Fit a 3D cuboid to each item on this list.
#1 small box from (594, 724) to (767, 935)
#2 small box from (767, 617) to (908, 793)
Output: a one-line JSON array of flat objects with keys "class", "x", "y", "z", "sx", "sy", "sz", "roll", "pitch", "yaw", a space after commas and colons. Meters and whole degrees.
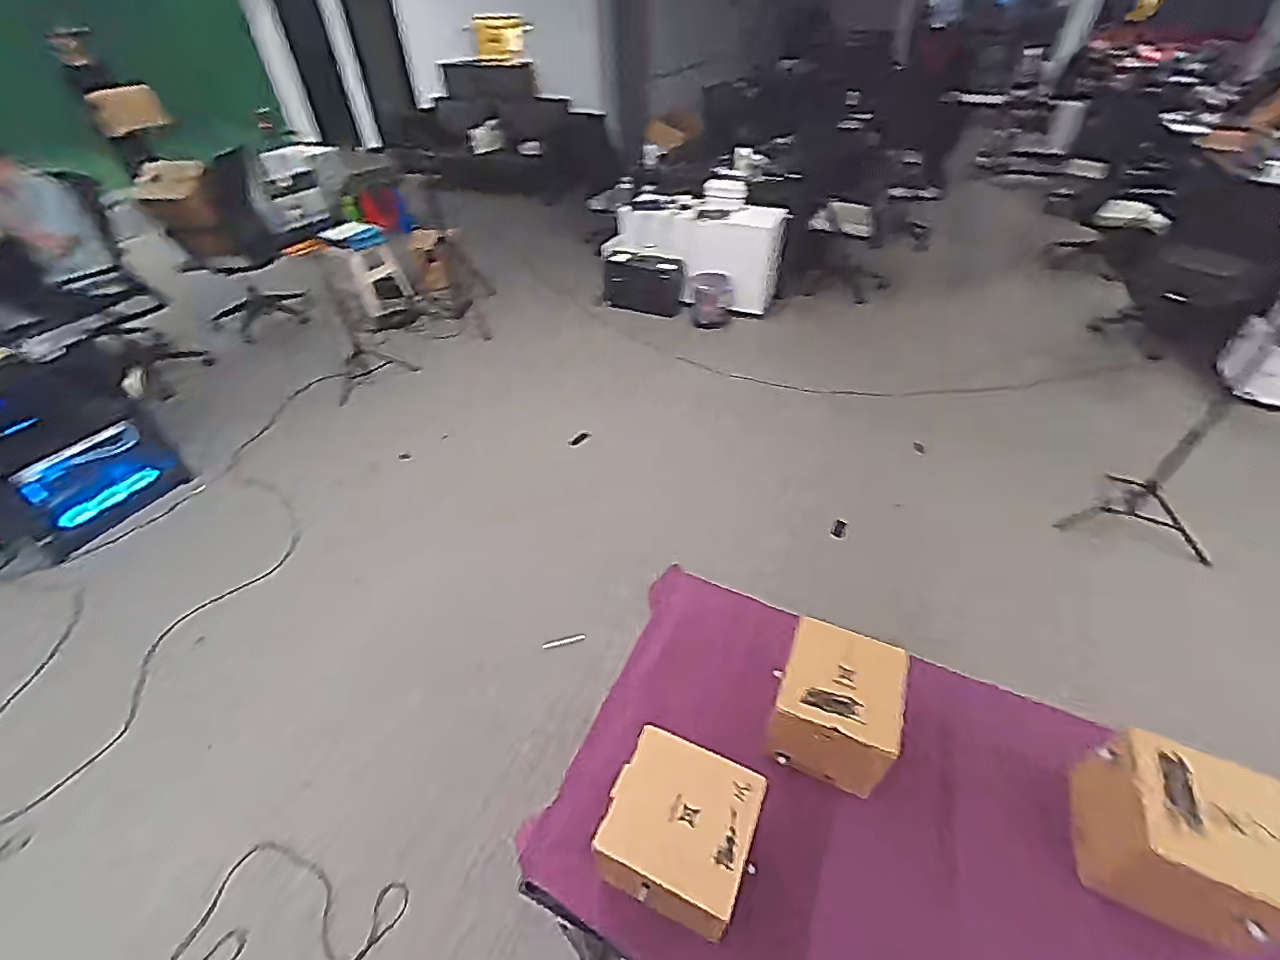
[{"class": "small box", "x": 0.057, "y": 0.477, "z": 0.737, "sx": 0.179, "sy": 0.176, "sz": 0.168, "roll": 17, "pitch": 46, "yaw": 20}, {"class": "small box", "x": 0.309, "y": 0.359, "z": 0.864, "sx": 0.168, "sy": 0.176, "sz": 0.179, "roll": 17, "pitch": 45, "yaw": 19}]
